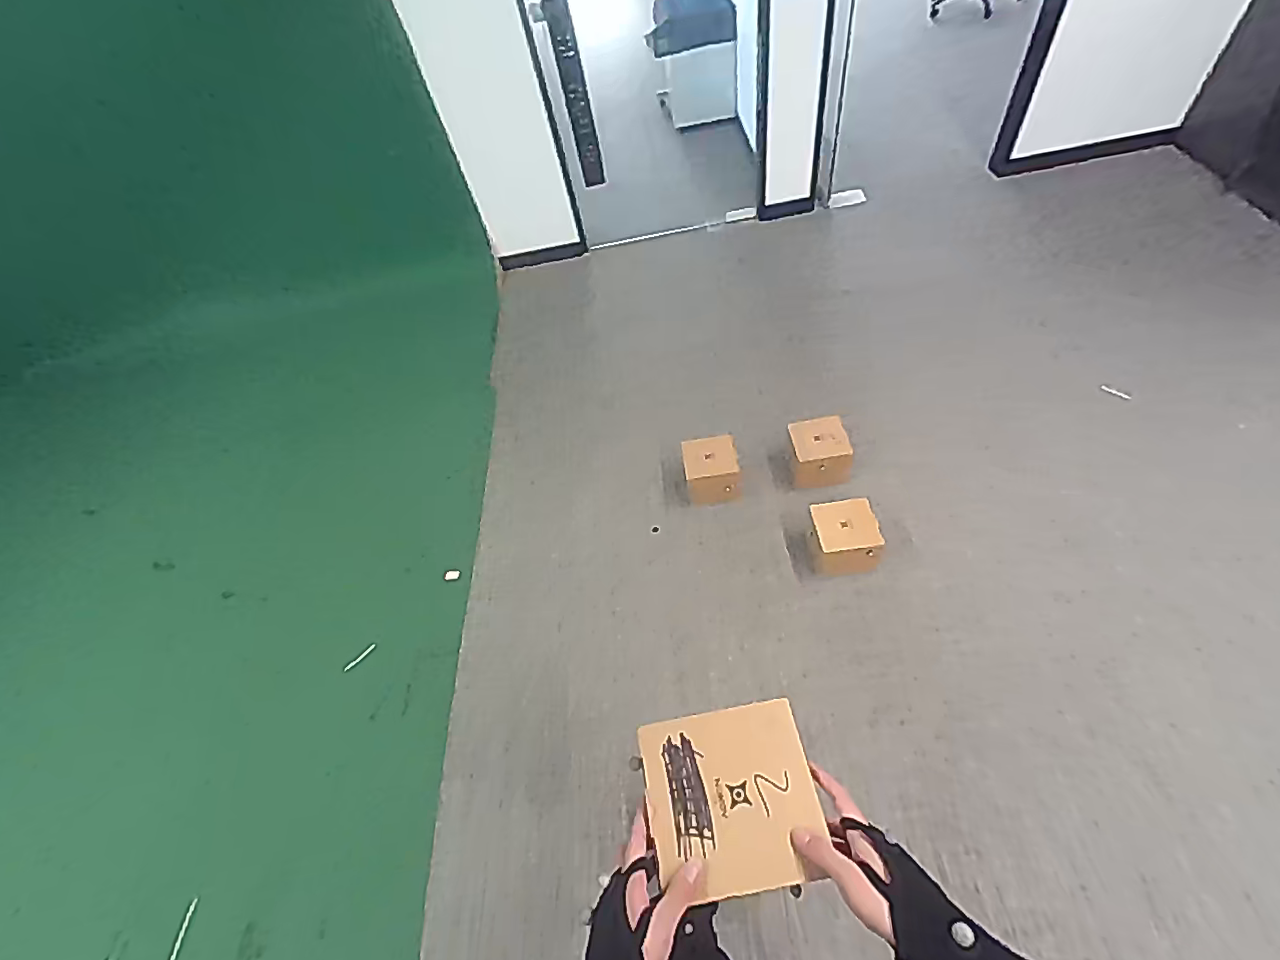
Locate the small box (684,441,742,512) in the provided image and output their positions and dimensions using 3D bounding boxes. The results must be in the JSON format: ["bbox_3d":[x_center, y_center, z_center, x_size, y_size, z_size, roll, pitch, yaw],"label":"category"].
[{"bbox_3d":[0.252,-0.010,1.853,0.179,0.176,0.168,-8,52,6],"label":"small box"}]

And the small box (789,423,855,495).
[{"bbox_3d":[0.604,-0.066,1.822,0.179,0.176,0.168,-9,53,5],"label":"small box"}]

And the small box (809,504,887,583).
[{"bbox_3d":[0.616,0.196,1.629,0.179,0.176,0.168,-8,52,4],"label":"small box"}]
